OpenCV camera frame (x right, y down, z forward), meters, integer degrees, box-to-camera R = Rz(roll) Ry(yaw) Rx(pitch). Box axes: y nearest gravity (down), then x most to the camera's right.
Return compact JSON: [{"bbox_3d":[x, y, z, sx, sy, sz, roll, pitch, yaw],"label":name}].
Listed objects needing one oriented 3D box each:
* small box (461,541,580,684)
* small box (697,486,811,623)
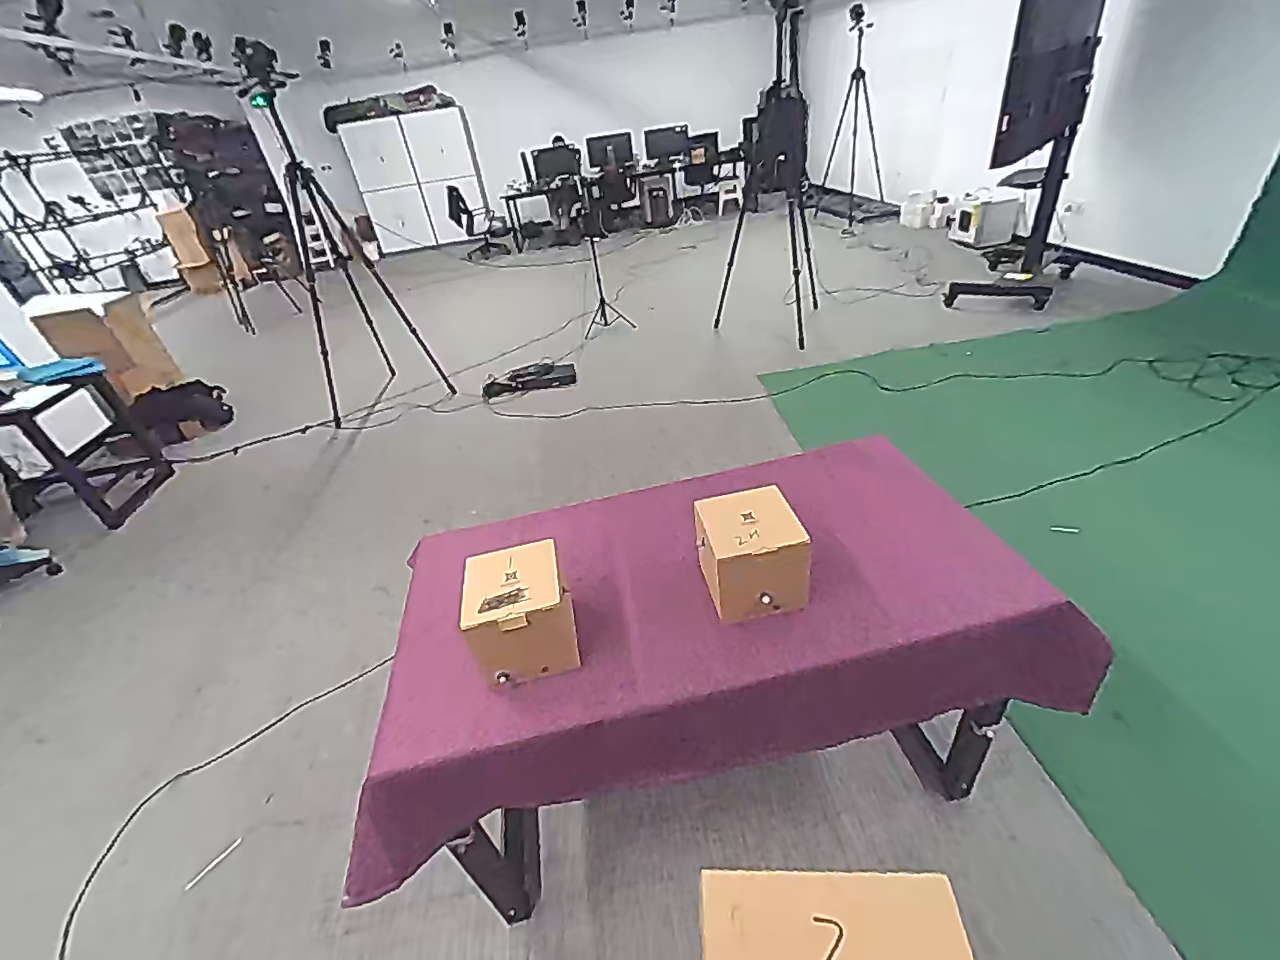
[{"bbox_3d":[-0.210,0.243,0.978,0.168,0.176,0.179,-13,33,-5],"label":"small box"},{"bbox_3d":[0.209,0.139,1.021,0.168,0.176,0.179,-12,35,-2],"label":"small box"}]
